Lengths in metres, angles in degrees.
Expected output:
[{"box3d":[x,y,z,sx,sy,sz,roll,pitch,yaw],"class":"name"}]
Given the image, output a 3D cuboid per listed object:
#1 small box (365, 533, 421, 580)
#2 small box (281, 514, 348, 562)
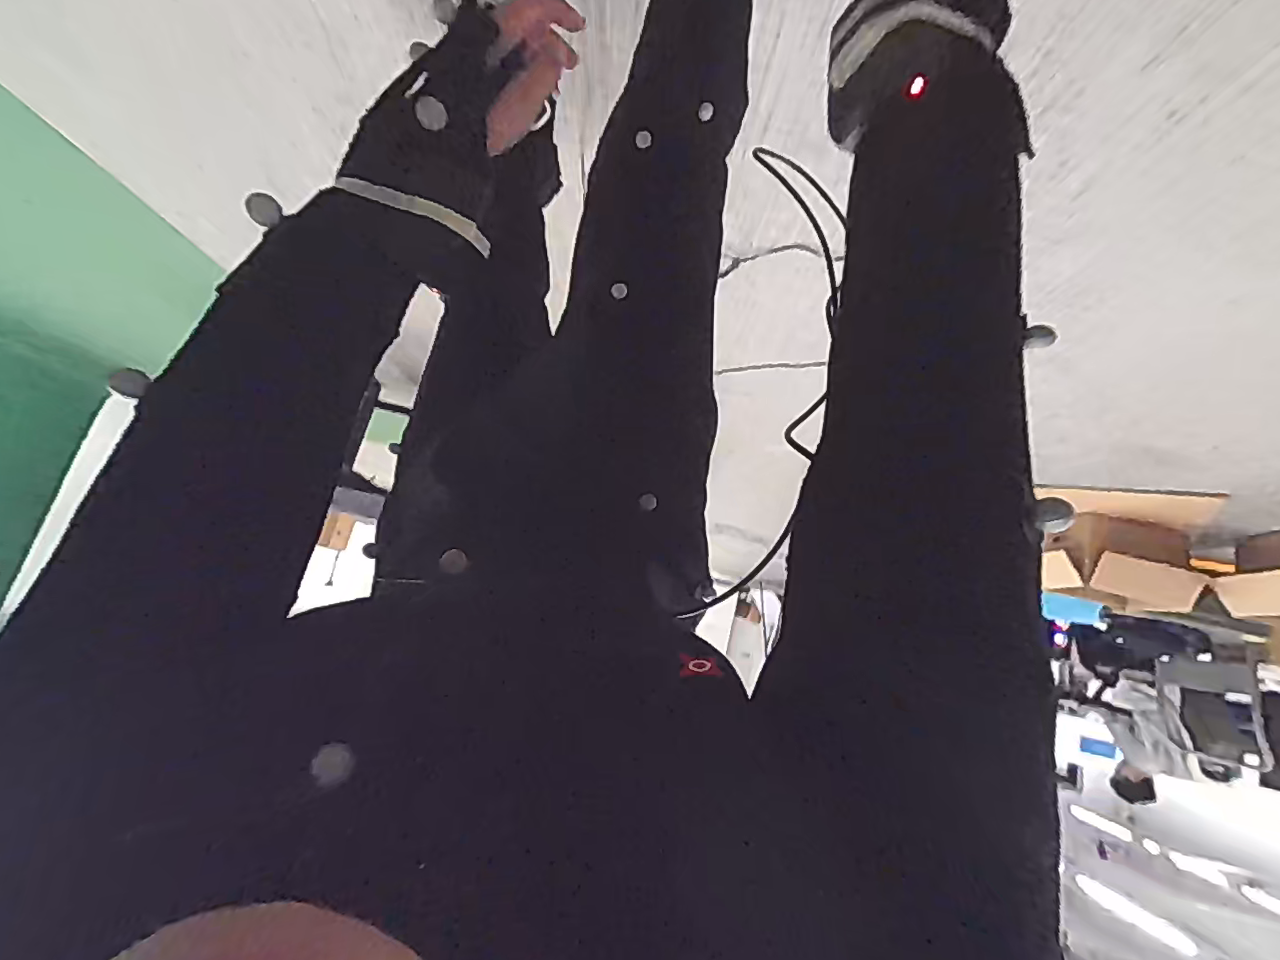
[{"box3d":[-1.101,0.344,2.429,0.168,0.176,0.179,16,166,-9],"class":"small box"},{"box3d":[-1.426,0.254,2.379,0.168,0.176,0.179,15,168,-1],"class":"small box"}]
